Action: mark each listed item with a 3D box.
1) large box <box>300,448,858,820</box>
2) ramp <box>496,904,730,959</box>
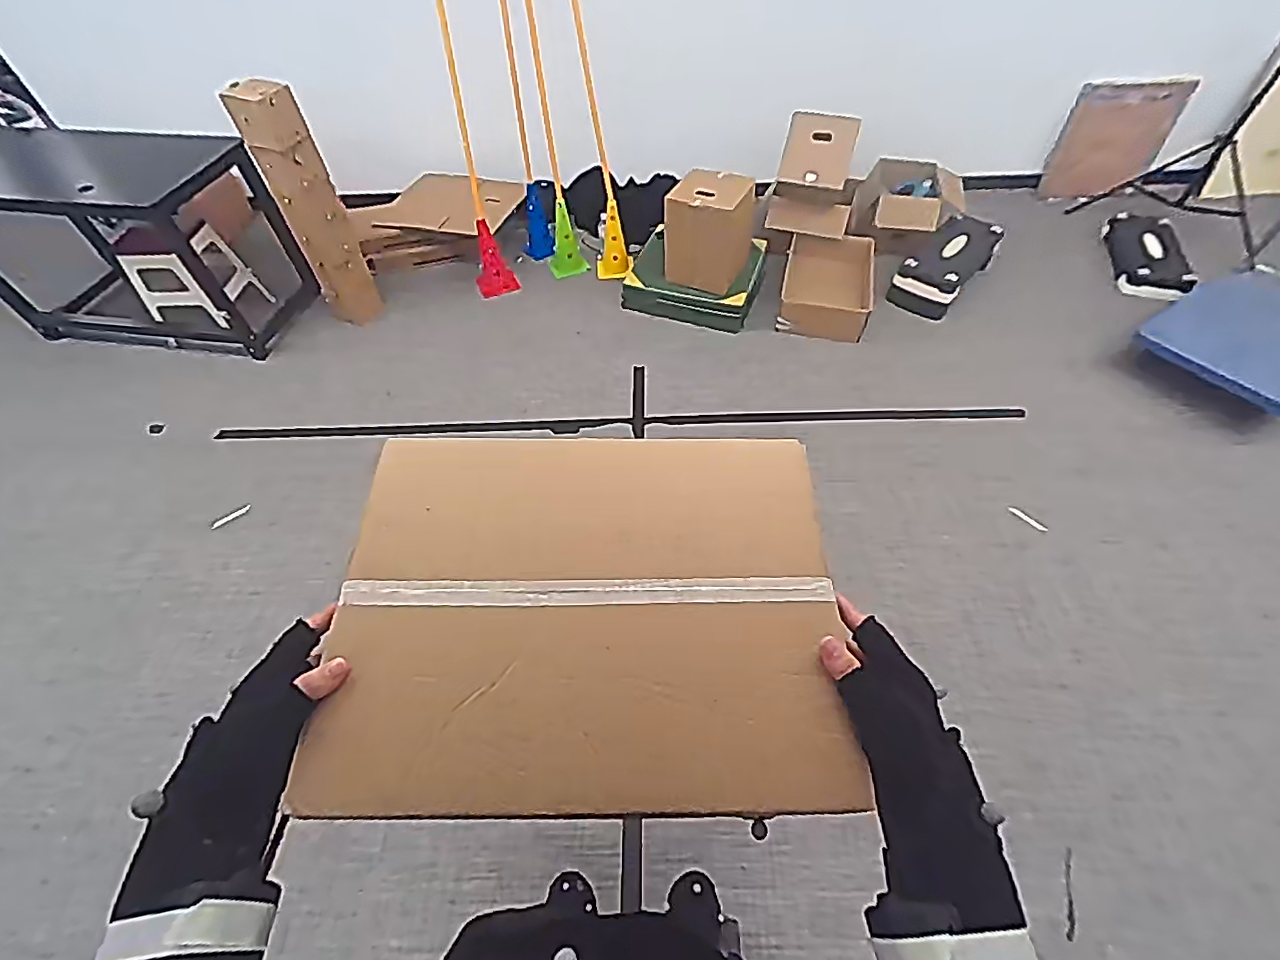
[{"bbox_3d":[-0.045,0.176,0.584,0.408,0.320,0.320,1,58,-2],"label":"large box"},{"bbox_3d":[-0.052,1.356,0.936,0.509,0.206,0.991,-1,53,-2],"label":"ramp"}]
